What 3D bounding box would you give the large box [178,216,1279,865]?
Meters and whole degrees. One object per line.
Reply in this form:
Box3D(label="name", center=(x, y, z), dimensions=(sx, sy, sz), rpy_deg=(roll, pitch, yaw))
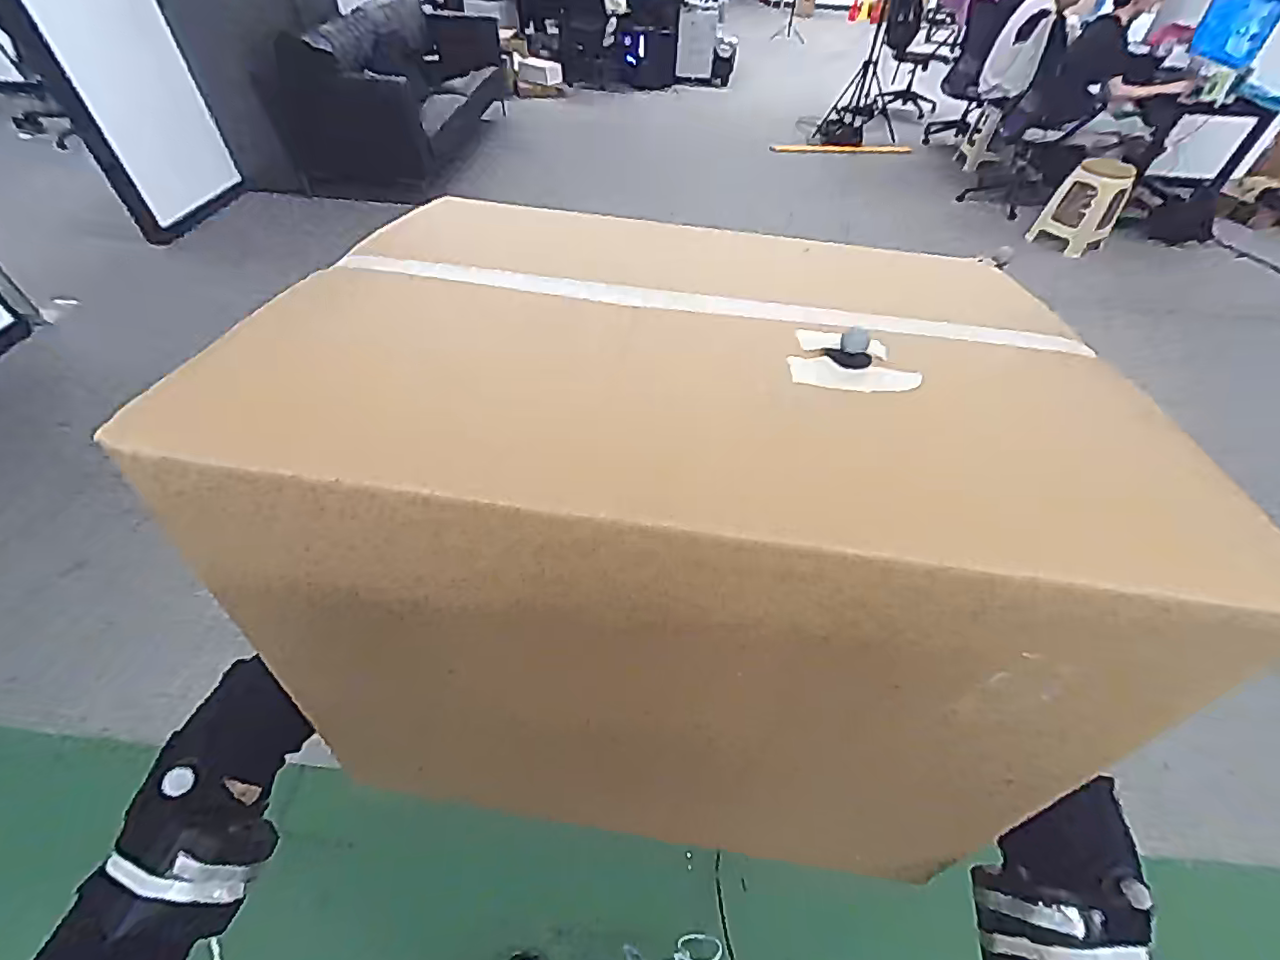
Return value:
Box3D(label="large box", center=(0.029, 0.032, 0.398), dimensions=(0.408, 0.320, 0.320), rpy_deg=(9, 42, 2))
